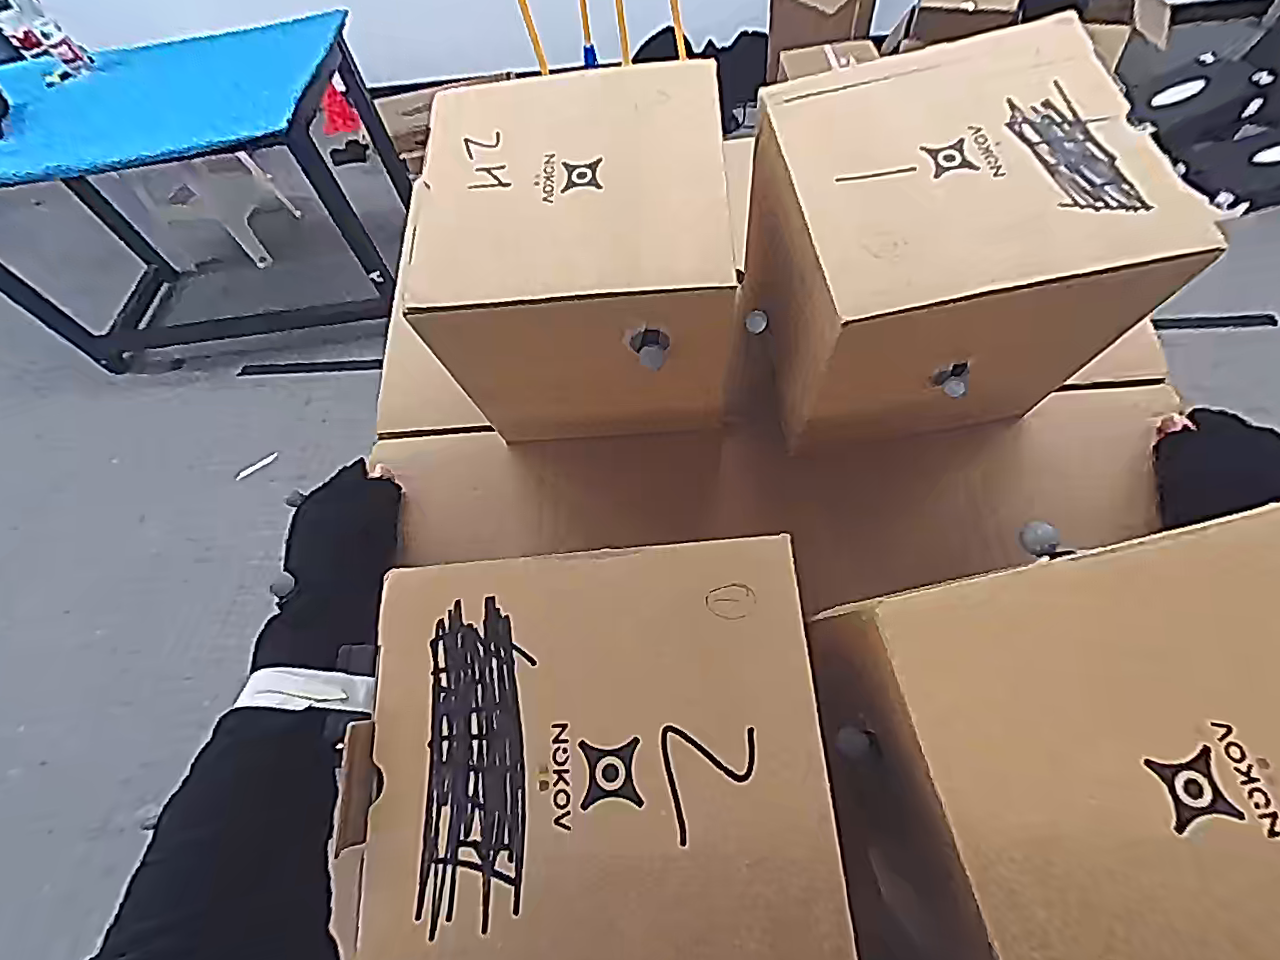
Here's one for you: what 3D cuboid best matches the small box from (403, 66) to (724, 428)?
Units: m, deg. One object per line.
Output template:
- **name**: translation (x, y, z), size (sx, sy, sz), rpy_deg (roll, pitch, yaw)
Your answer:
- **small box**: translation (-0.035, -0.146, 0.387), size (0.179, 0.176, 0.168), rpy_deg (-2, 69, 6)
